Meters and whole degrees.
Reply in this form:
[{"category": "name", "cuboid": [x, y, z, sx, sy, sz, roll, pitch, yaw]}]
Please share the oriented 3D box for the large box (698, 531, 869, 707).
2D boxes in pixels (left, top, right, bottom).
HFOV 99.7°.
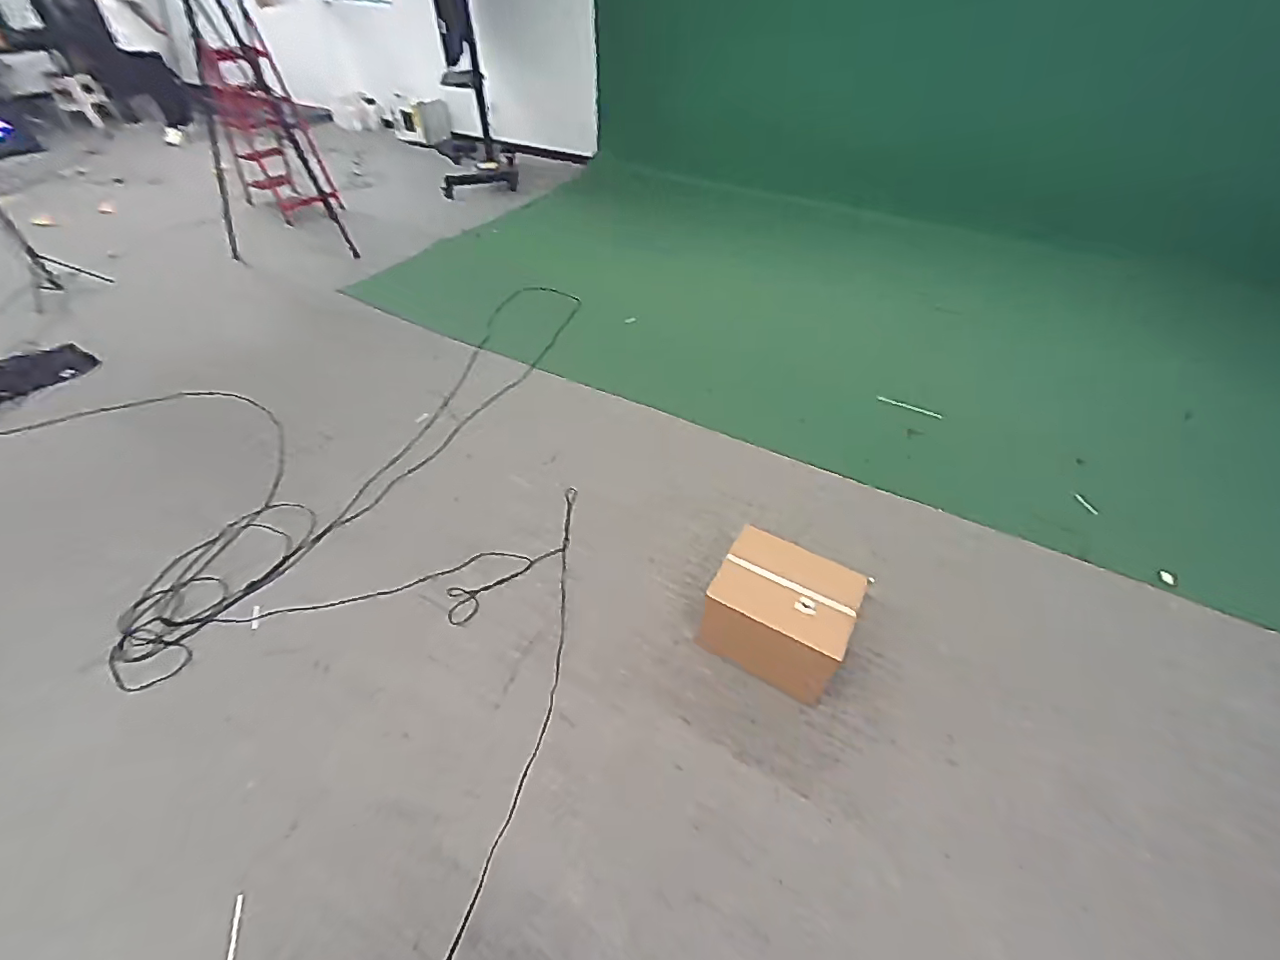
[{"category": "large box", "cuboid": [0.435, 0.429, 1.697, 0.408, 0.320, 0.320, 24, 49, 20]}]
